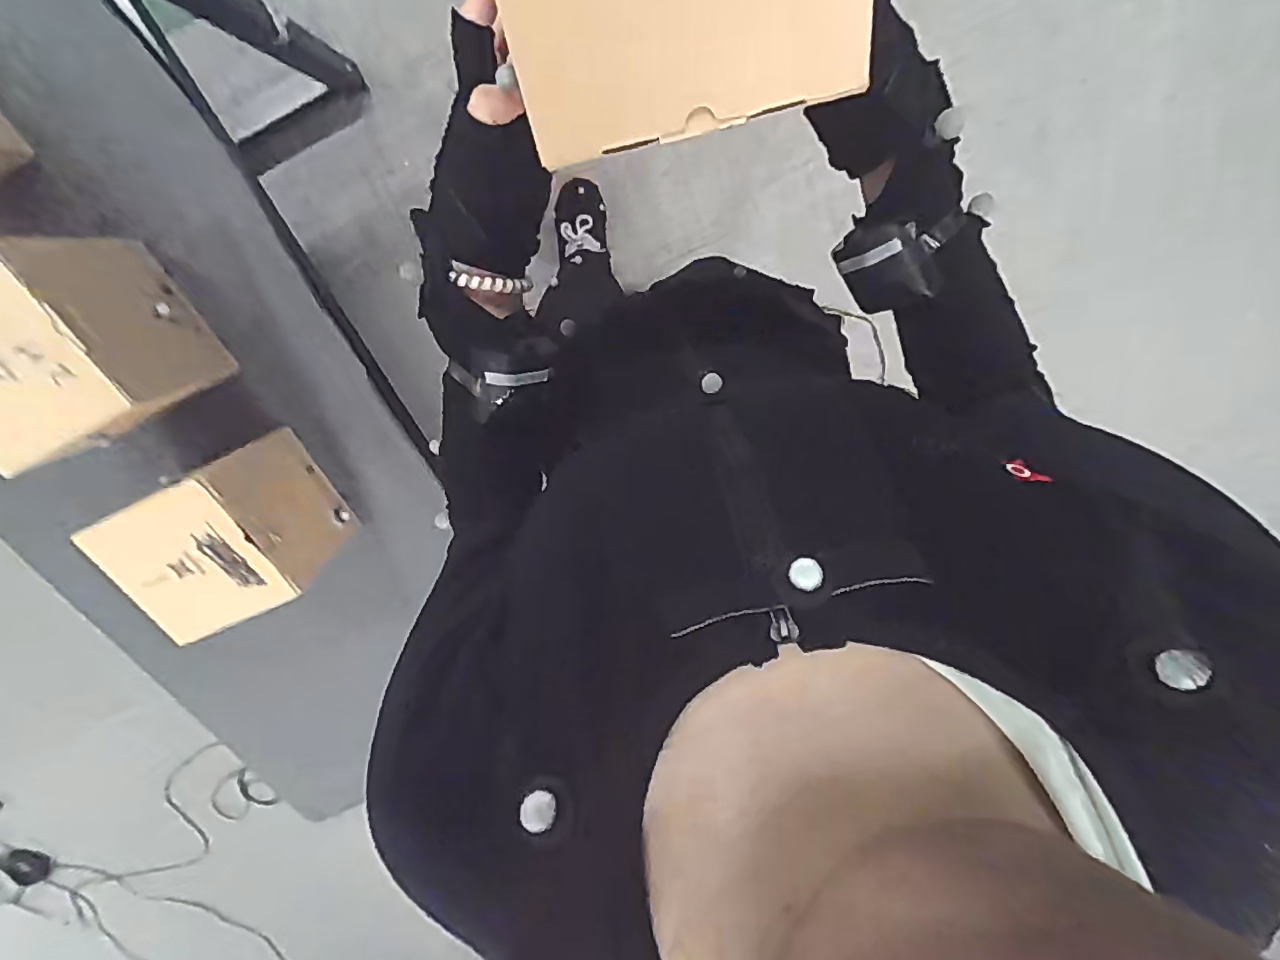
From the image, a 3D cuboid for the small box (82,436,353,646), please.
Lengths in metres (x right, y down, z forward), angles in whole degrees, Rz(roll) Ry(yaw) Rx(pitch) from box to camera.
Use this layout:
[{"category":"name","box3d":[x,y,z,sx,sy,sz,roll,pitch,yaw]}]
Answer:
[{"category":"small box","box3d":[-0.493,0.066,0.672,0.179,0.176,0.168,-23,112,9]}]

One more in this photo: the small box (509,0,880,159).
[{"category":"small box","box3d":[0.012,-0.292,0.275,0.168,0.176,0.179,-11,130,5]}]

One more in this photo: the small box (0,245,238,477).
[{"category":"small box","box3d":[-0.597,-0.133,0.579,0.179,0.176,0.168,-24,113,9]}]
